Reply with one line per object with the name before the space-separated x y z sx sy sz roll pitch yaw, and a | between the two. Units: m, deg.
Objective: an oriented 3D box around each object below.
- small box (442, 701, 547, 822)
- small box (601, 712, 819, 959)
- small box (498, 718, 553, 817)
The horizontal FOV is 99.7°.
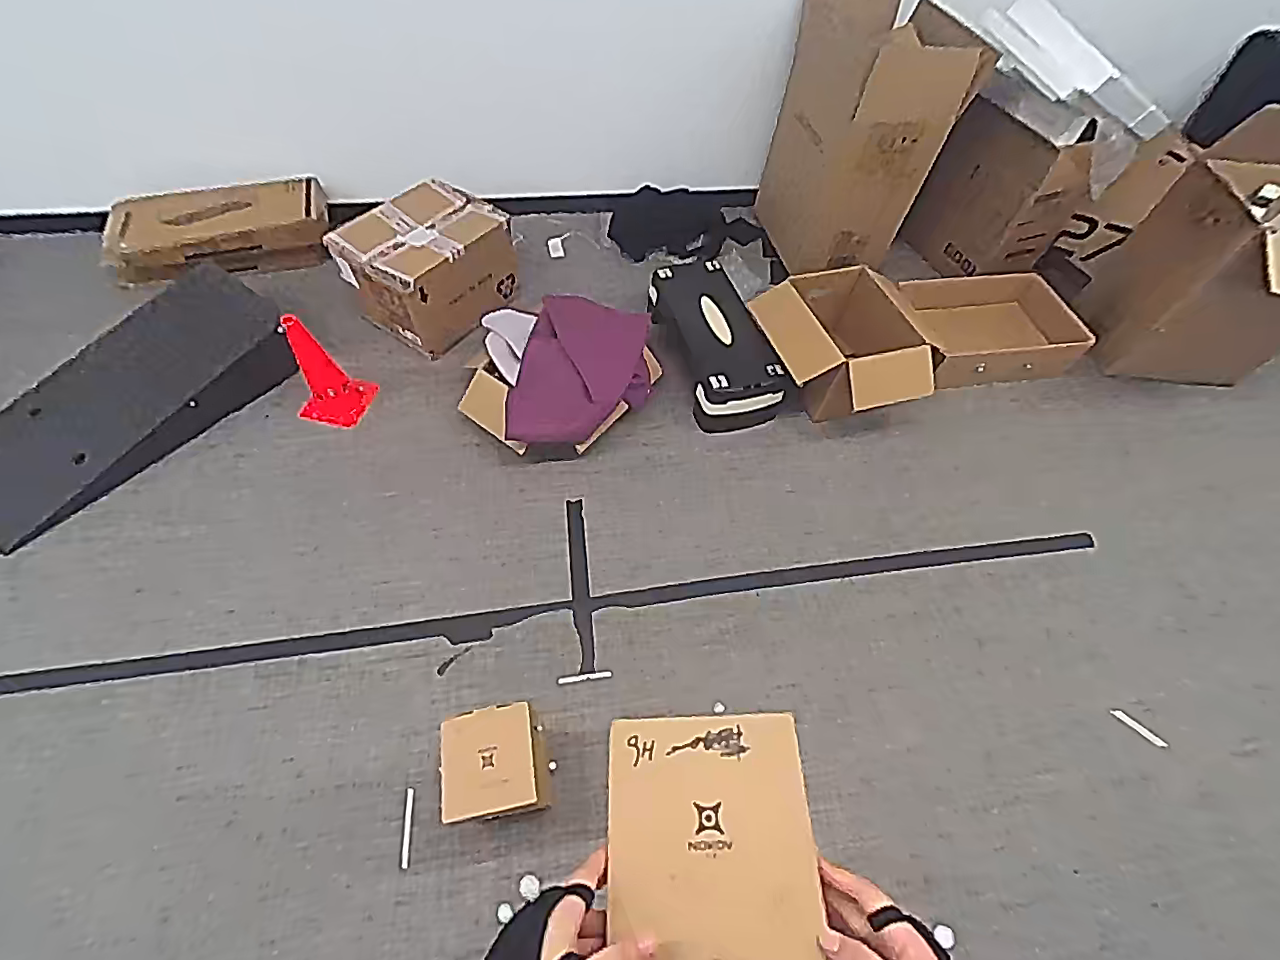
small box | -0.281 0.554 1.058 0.168 0.176 0.179 -10 59 -8
small box | 0.062 0.328 0.509 0.168 0.176 0.179 -5 56 6
small box | -0.293 0.641 1.195 0.179 0.176 0.168 -7 58 -8
